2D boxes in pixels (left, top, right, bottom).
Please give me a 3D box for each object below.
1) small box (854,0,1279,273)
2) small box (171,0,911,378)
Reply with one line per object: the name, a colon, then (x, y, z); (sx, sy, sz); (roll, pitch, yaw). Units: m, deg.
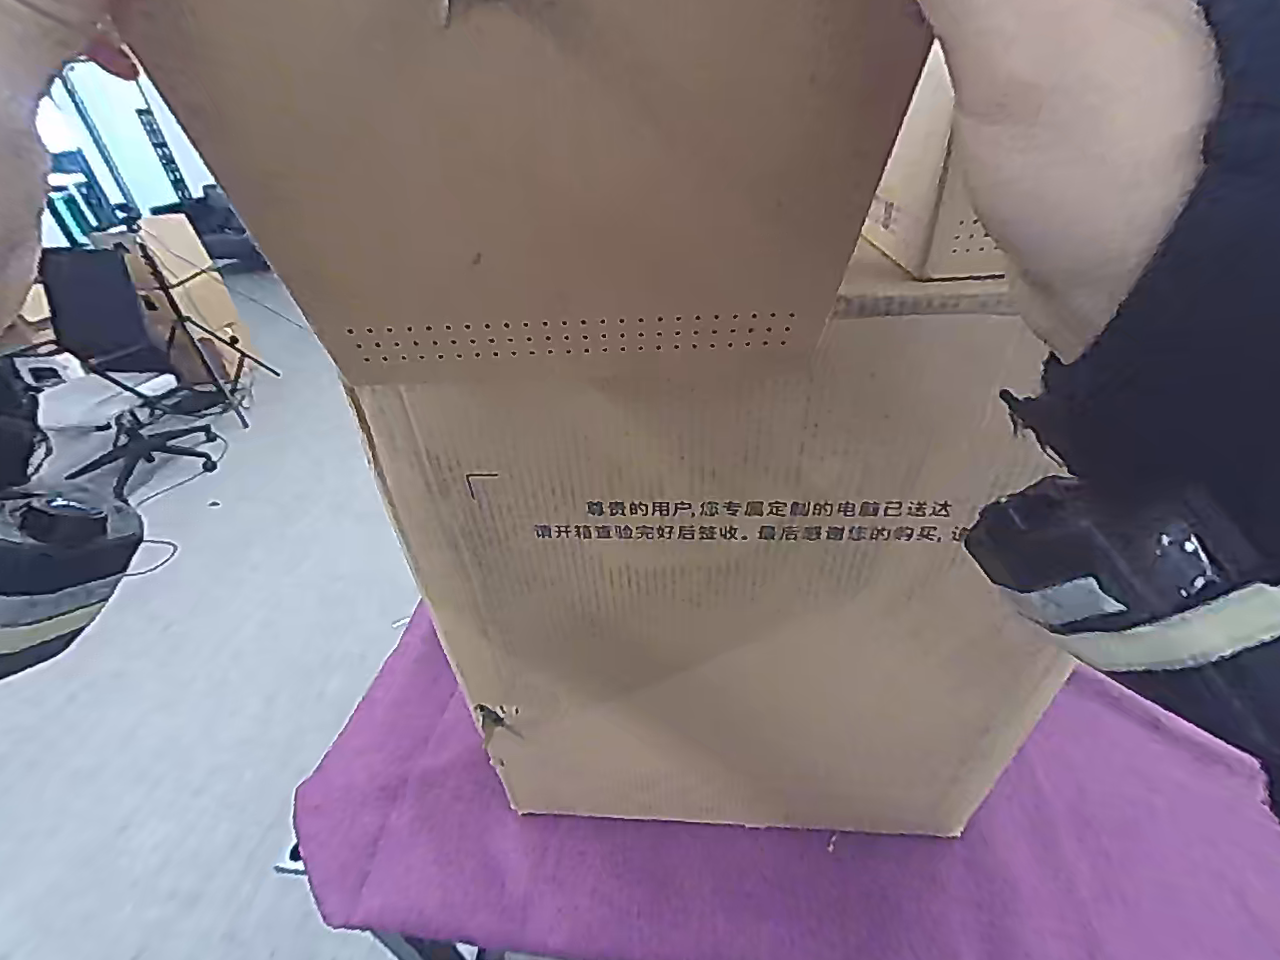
small box: (0.224, -0.216, 0.284); (0.179, 0.176, 0.168); (-2, 36, 4)
small box: (-0.024, -0.149, 0.181); (0.179, 0.176, 0.168); (-3, 58, -2)
